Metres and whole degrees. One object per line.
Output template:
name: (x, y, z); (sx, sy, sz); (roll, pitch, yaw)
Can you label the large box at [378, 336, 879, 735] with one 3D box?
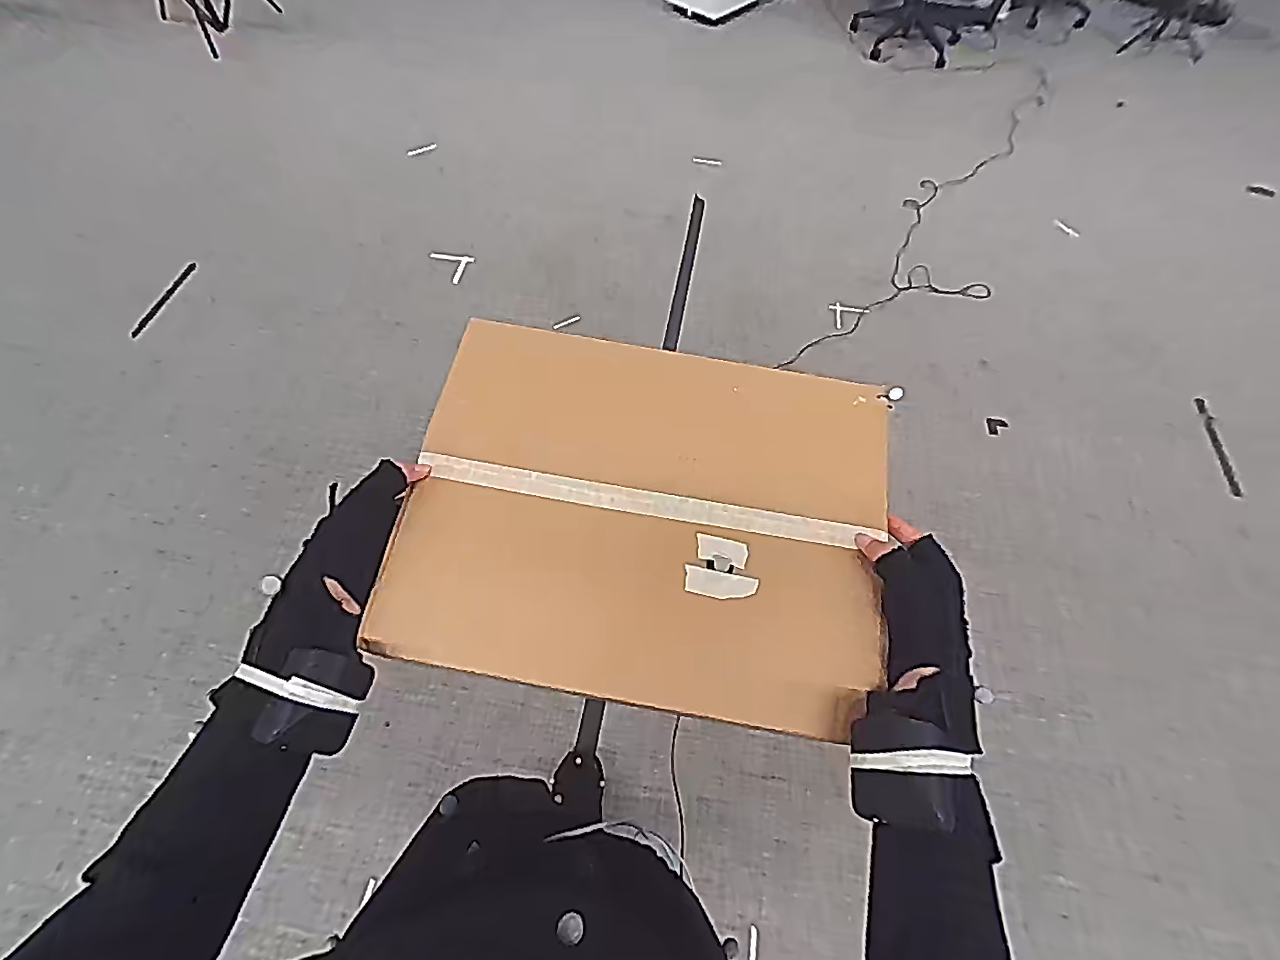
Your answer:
large box: (0.003, 0.081, 0.611); (0.408, 0.320, 0.320); (10, 69, 1)
